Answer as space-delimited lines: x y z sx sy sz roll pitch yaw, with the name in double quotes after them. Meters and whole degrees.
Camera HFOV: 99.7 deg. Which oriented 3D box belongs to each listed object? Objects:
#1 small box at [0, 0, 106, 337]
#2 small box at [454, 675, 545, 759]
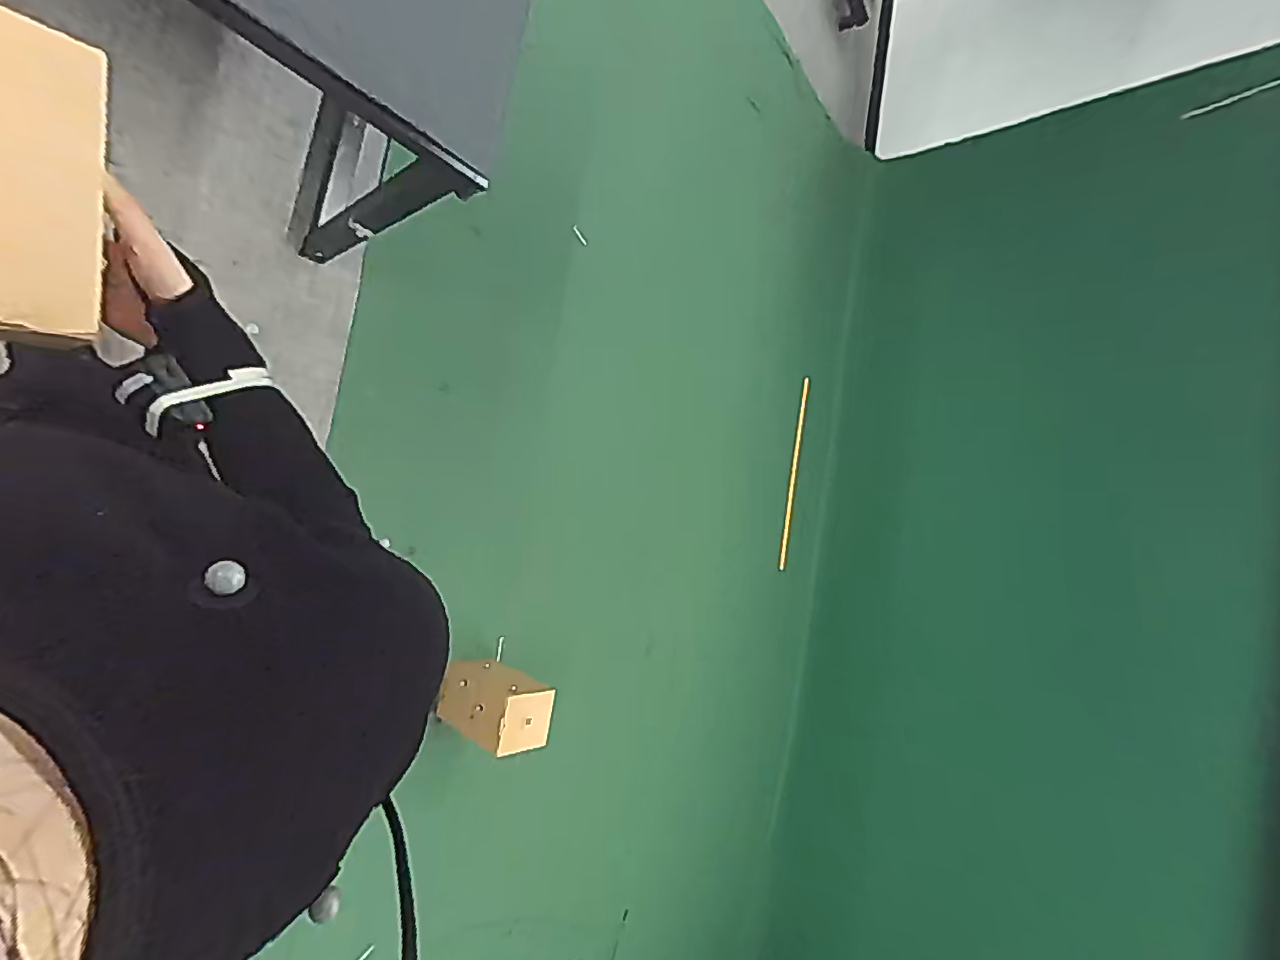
-0.441 -0.189 0.308 0.168 0.176 0.179 2 95 -53 "small box"
-0.408 0.678 1.571 0.179 0.176 0.168 16 82 -49 "small box"
